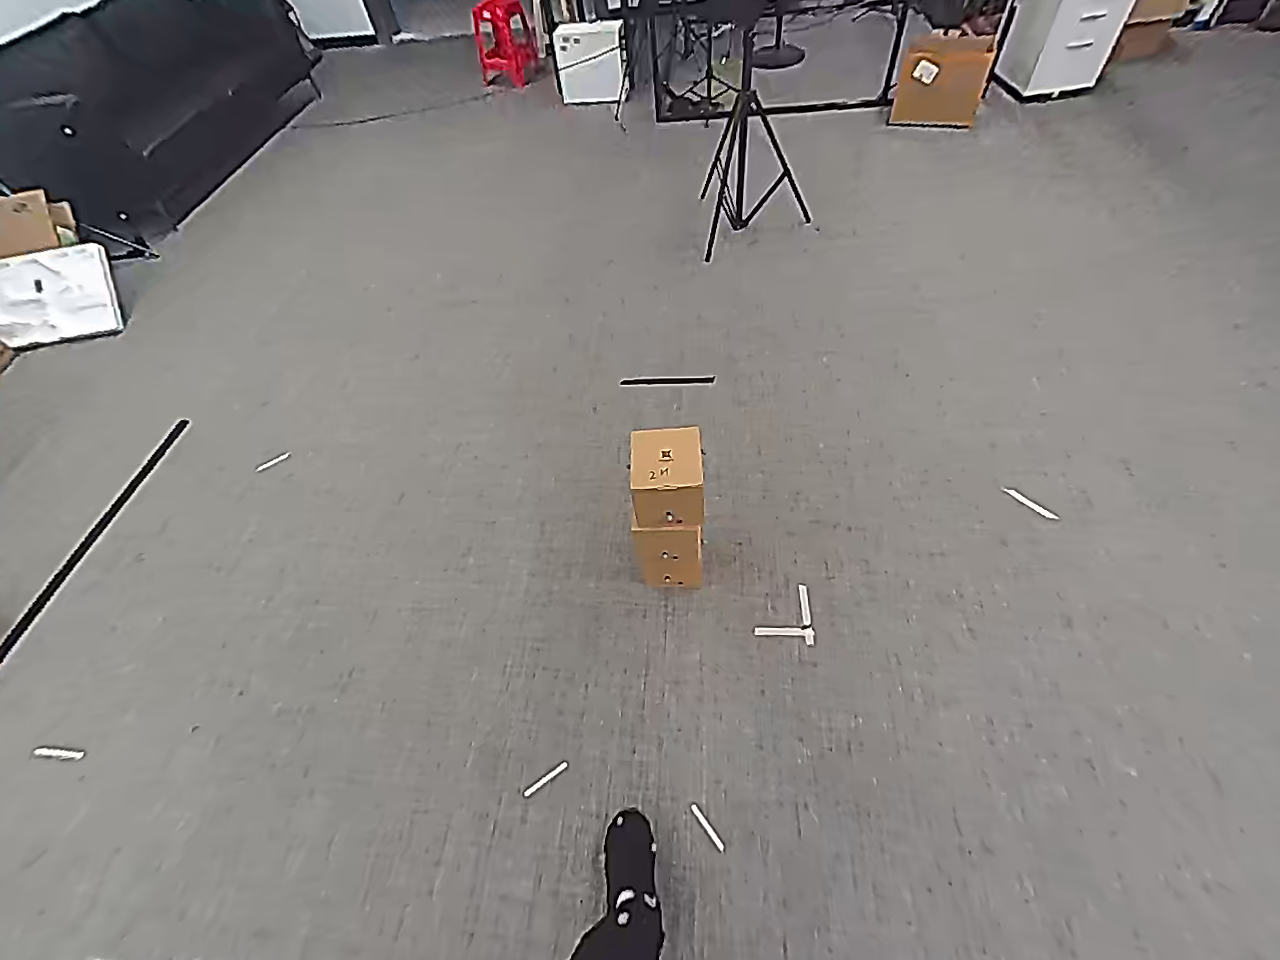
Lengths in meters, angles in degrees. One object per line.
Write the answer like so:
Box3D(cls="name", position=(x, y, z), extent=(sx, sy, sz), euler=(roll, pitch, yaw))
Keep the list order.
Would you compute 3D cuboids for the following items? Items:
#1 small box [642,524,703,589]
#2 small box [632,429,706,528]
Box3D(cls="small box", position=(0.098, 0.199, 1.575), extent=(0.168, 0.176, 0.179), euler=(-1, 54, 6))
Box3D(cls="small box", position=(0.072, -0.002, 1.316), extent=(0.168, 0.176, 0.179), euler=(-4, 54, 5))
